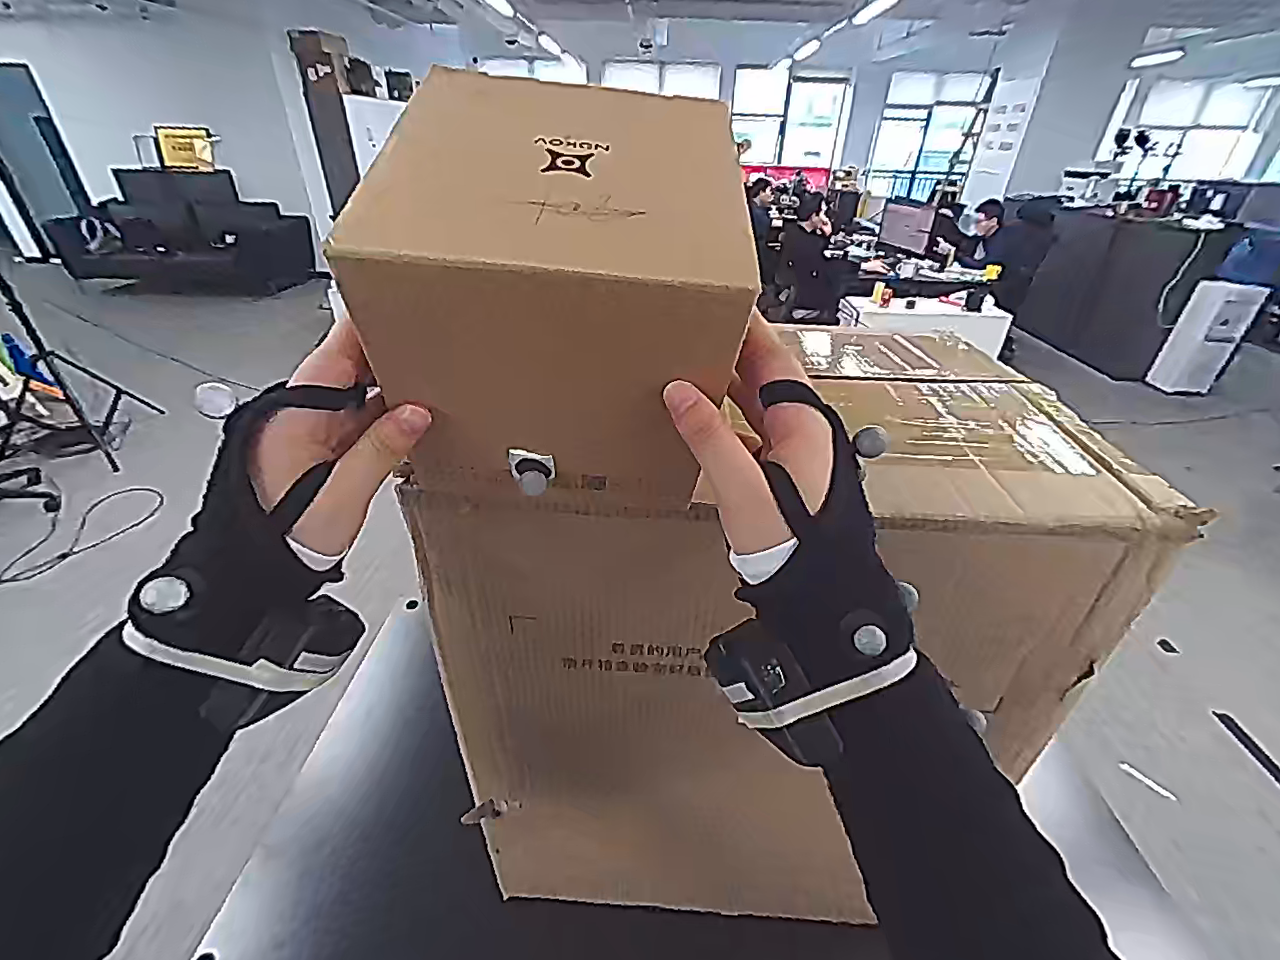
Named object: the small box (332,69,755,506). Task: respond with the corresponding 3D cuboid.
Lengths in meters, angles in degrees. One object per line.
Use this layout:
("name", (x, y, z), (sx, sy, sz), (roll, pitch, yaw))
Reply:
("small box", (-0.042, -0.105, 0.320), (0.168, 0.176, 0.179), (2, 55, -4))
